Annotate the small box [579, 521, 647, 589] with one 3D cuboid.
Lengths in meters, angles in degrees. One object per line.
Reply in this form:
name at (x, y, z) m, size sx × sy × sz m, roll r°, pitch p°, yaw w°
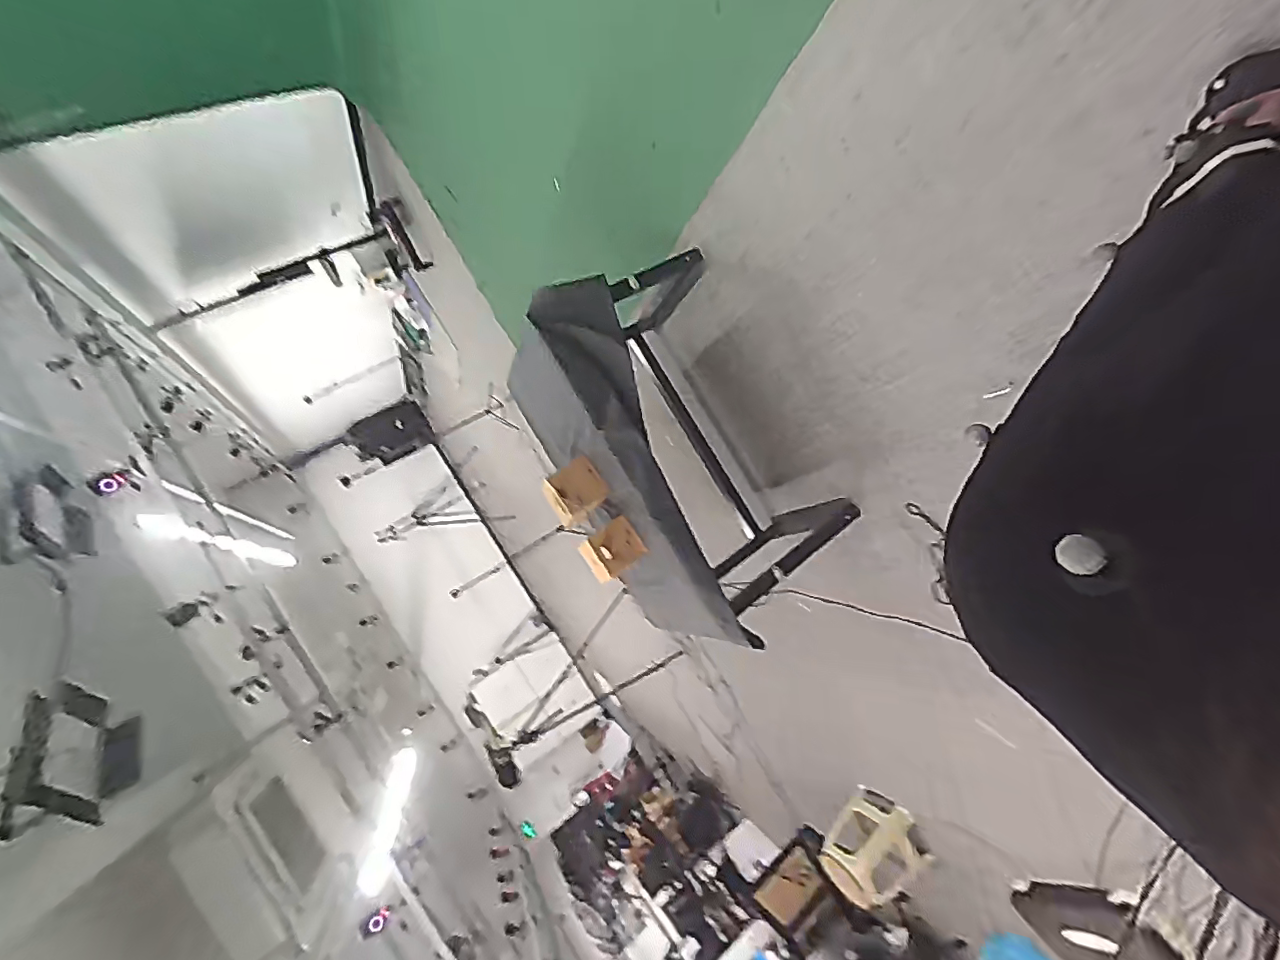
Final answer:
small box at (-0.098, 0.270, 1.941) m, size 0.168 × 0.176 × 0.179 m, roll 55°, pitch 156°, yaw 7°
